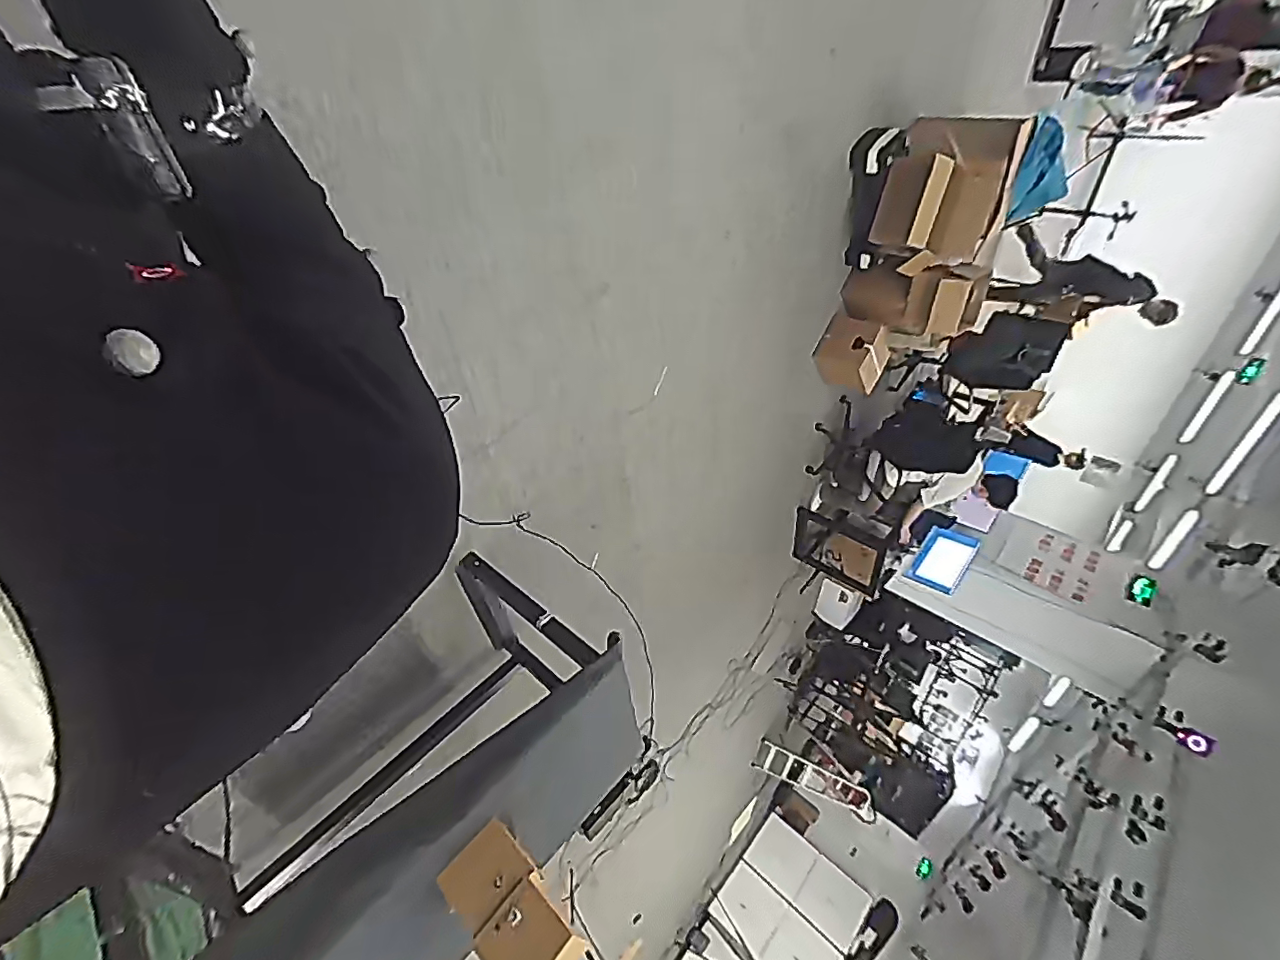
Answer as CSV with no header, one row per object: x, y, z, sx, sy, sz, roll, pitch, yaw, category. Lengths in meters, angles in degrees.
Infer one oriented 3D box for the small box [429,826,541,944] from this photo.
-0.372,0.983,1.300,0.179,0.176,0.168,-37,139,-30,small box

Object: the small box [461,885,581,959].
-0.262,1.048,1.200,0.168,0.176,0.179,-43,140,-27,small box
